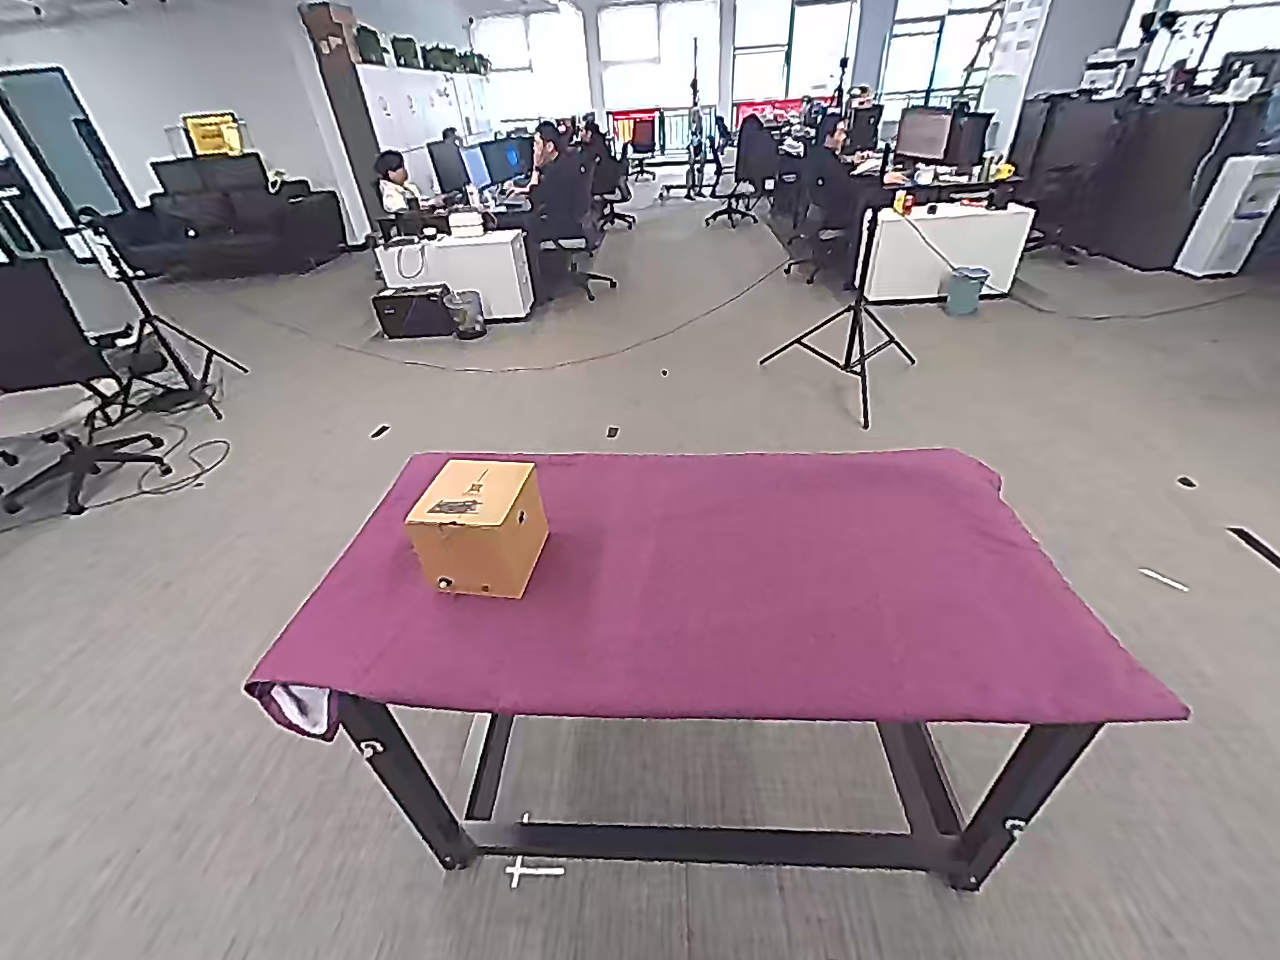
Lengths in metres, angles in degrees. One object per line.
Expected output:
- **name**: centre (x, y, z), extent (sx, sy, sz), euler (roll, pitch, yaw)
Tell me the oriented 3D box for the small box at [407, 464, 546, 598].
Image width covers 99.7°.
- **small box**: centre (-0.276, 0.089, 0.963), extent (0.168, 0.176, 0.179), euler (3, 36, 9)
